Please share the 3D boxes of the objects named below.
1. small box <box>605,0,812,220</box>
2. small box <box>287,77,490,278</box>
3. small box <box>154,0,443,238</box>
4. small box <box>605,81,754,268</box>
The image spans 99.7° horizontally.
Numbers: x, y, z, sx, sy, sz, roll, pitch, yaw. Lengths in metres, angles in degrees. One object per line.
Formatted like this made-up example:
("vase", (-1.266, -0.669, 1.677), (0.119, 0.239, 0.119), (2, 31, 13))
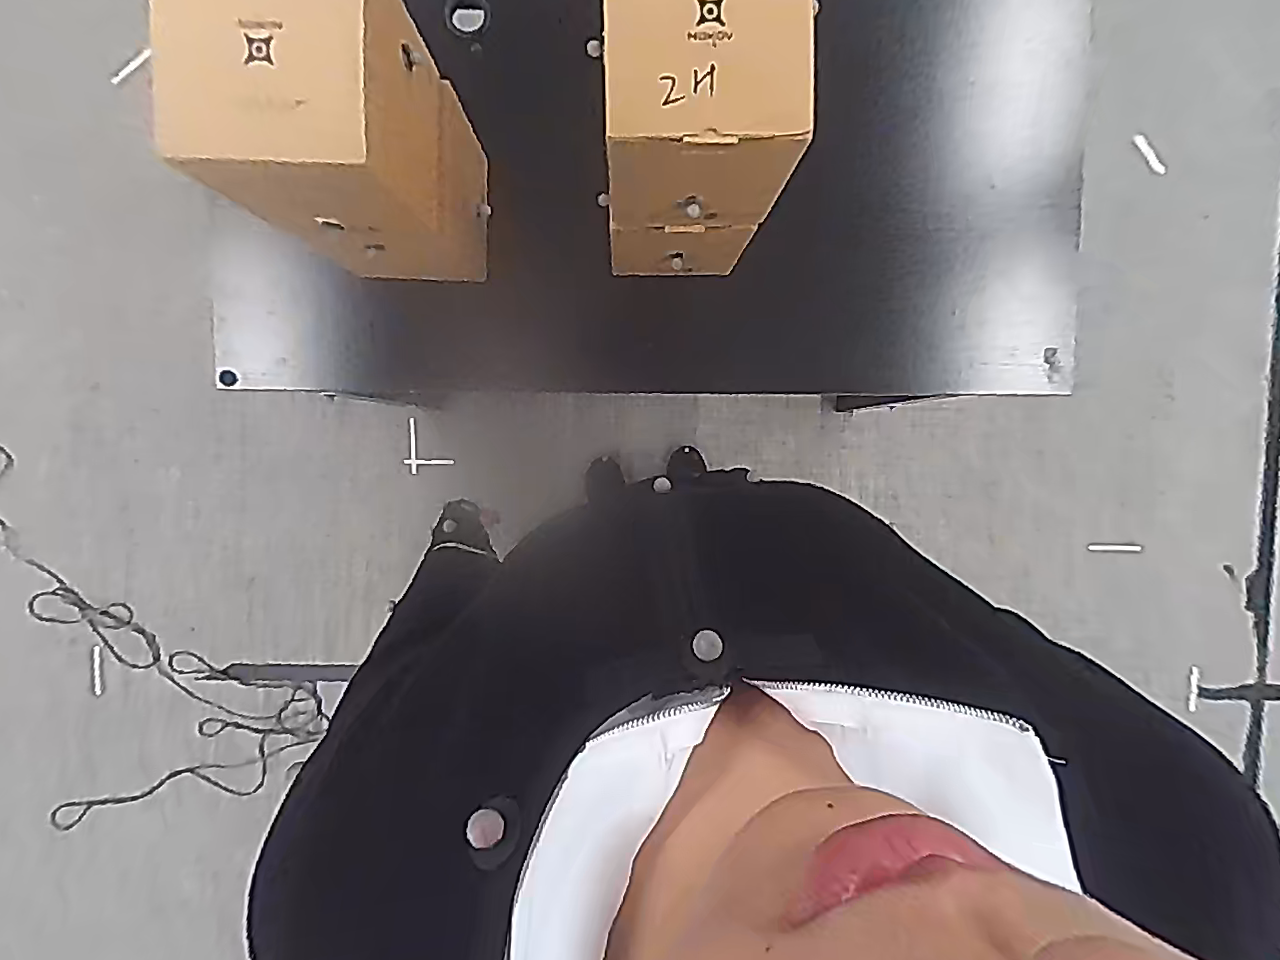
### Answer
("small box", (0.052, -0.367, 0.504), (0.168, 0.176, 0.179), (-1, 93, -1))
("small box", (-0.294, -0.357, 0.660), (0.179, 0.176, 0.168), (2, 94, -3))
("small box", (-0.292, -0.345, 0.498), (0.168, 0.176, 0.179), (1, 95, 0))
("small box", (0.044, -0.372, 0.670), (0.168, 0.176, 0.179), (-1, 94, -1))
